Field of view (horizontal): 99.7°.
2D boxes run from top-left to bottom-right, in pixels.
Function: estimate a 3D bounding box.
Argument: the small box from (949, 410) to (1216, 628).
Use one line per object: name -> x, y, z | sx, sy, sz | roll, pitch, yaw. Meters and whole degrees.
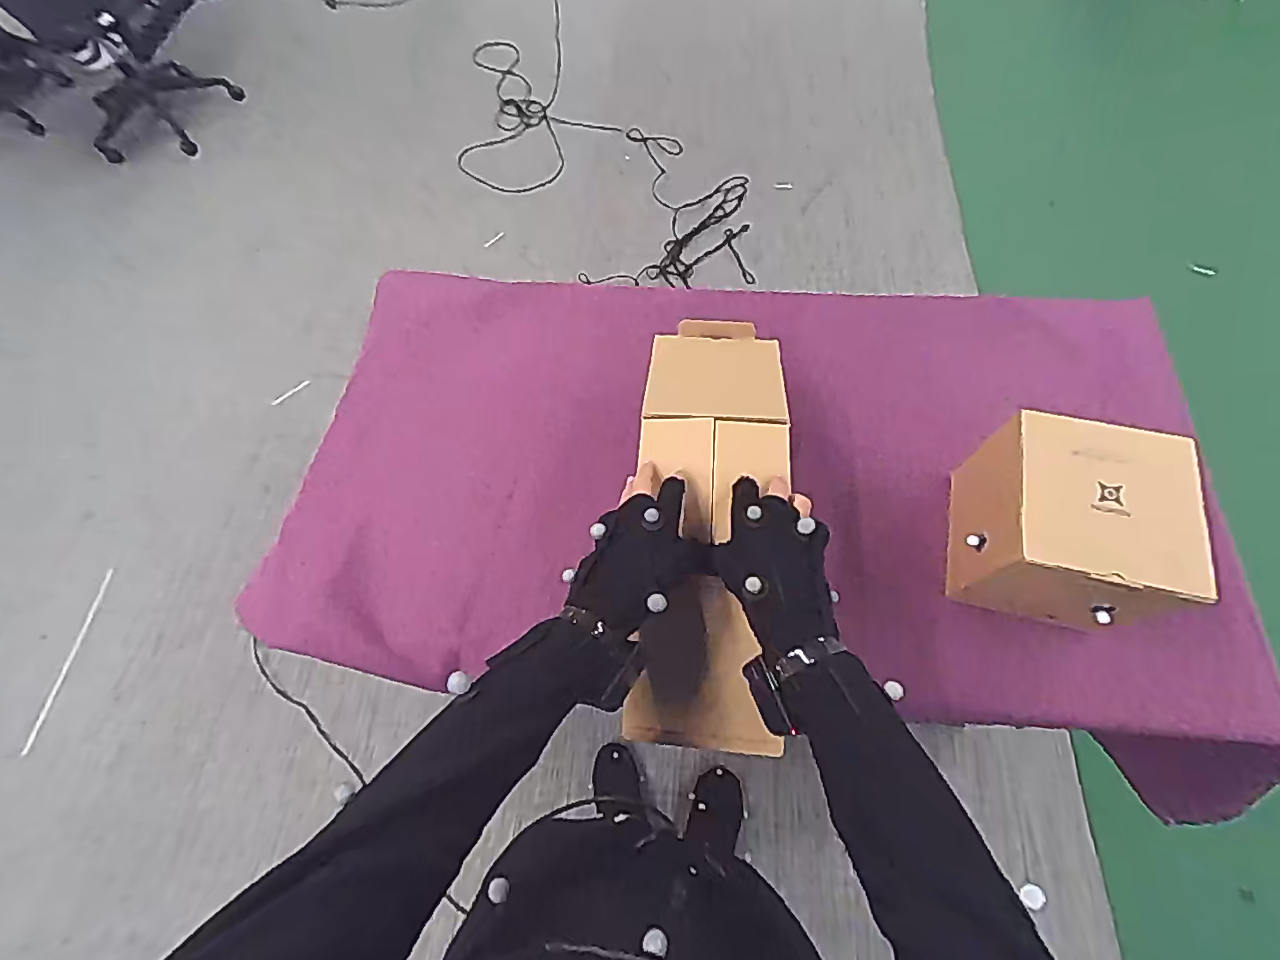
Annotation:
small box -> 0.467, 0.052, 0.602 | 0.168, 0.176, 0.179 | 13, 66, 10
